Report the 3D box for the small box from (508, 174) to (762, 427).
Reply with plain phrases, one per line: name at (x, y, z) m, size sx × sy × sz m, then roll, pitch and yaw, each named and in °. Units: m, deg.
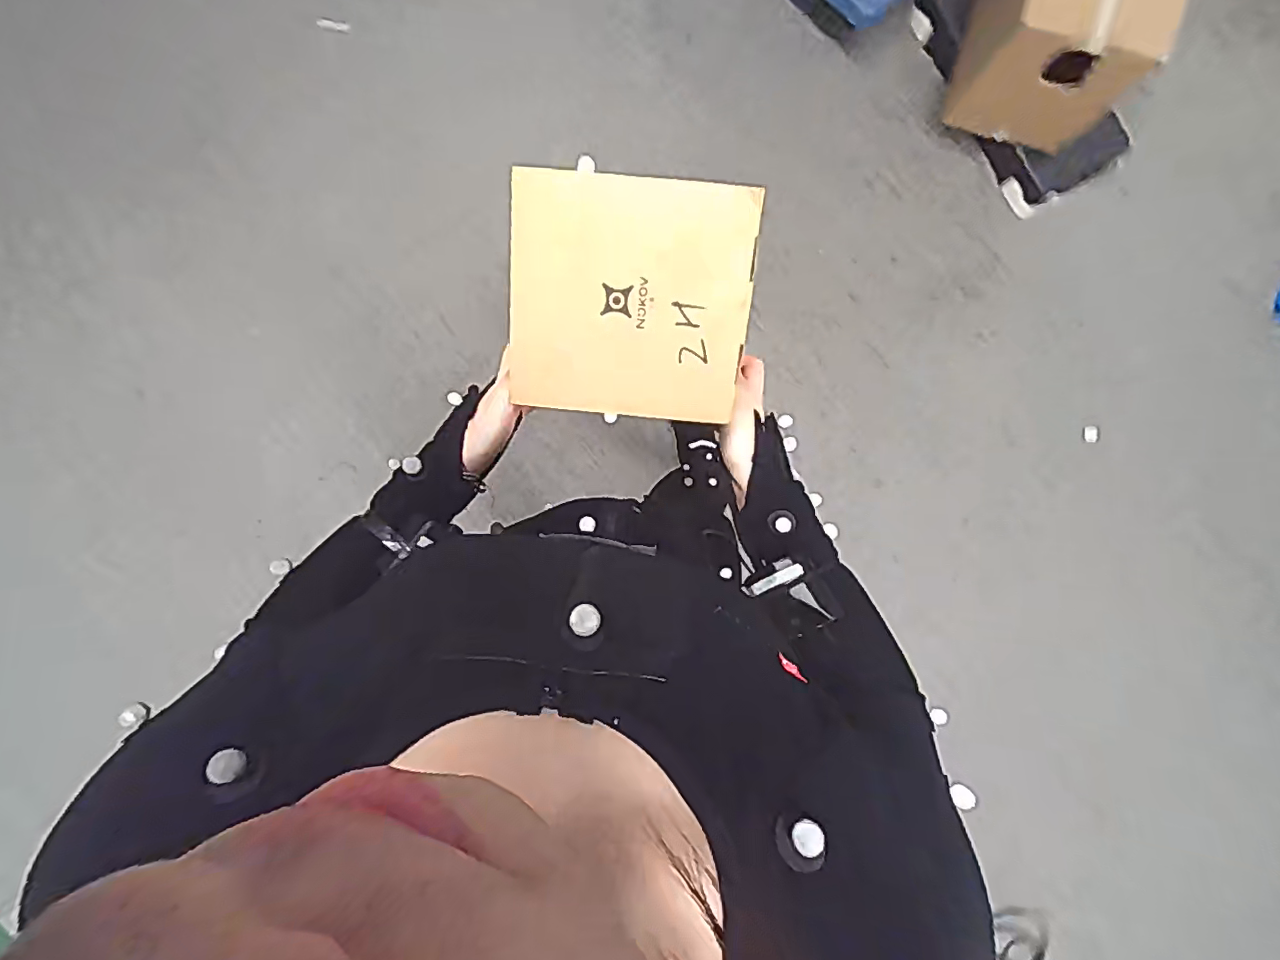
small box at (-0.007, -0.151, 0.469) m, size 0.179 × 0.176 × 0.168 m, roll 4°, pitch 110°, yaw 0°
